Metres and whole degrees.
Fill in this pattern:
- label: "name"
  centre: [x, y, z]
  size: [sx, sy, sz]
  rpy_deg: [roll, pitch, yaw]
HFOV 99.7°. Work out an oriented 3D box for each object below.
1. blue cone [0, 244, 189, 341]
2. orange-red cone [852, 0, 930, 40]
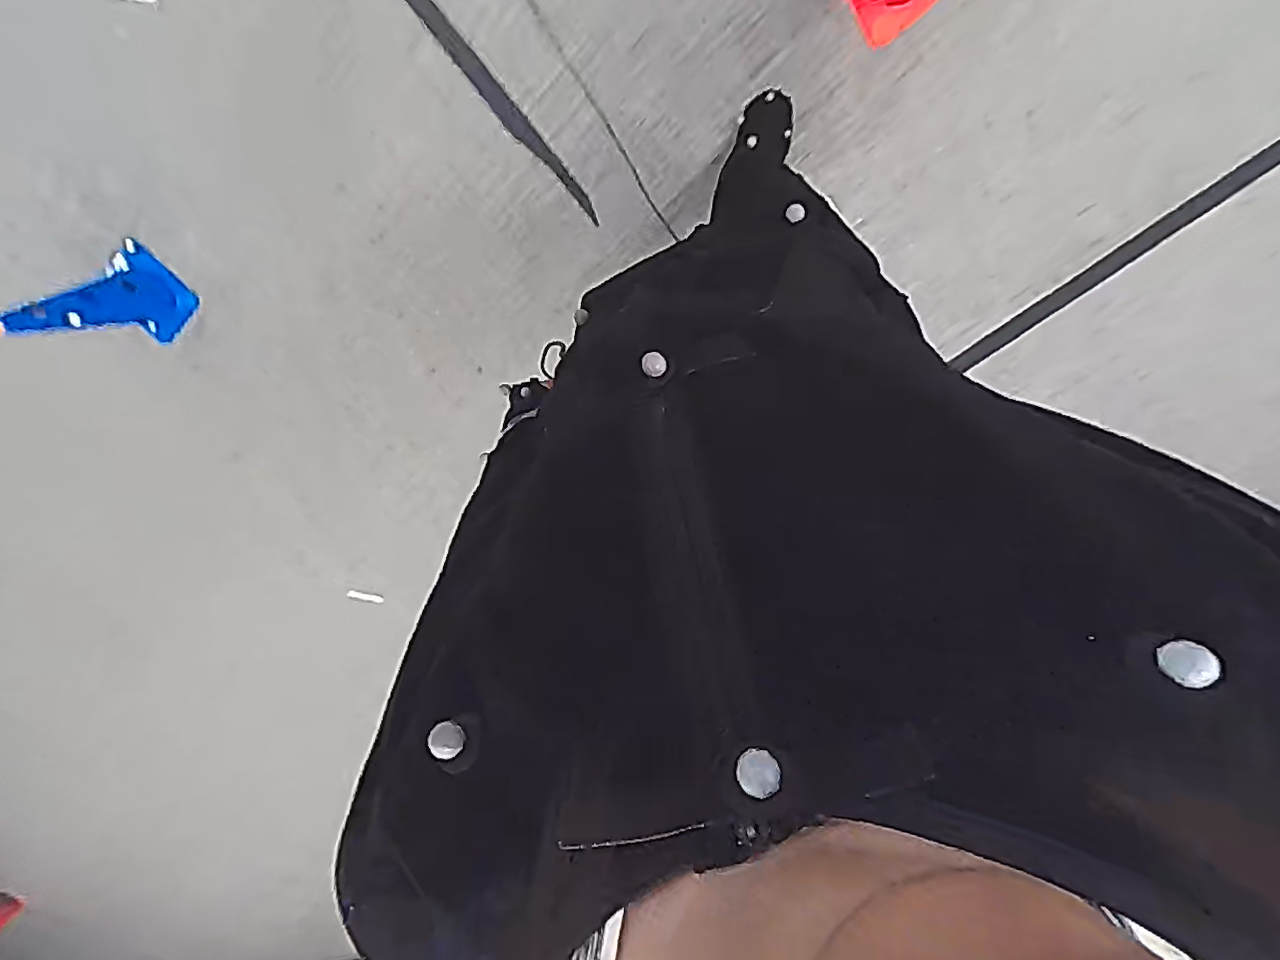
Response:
- label: "blue cone"
  centre: [-1.288, -0.397, 1.248]
  size: [0.193, 0.380, 0.192]
  rpy_deg: [-33, 110, 20]
- label: "orange-red cone"
  centre: [0.446, -0.857, 0.809]
  size: [0.198, 0.360, 0.199]
  rpy_deg: [-33, 112, 21]
